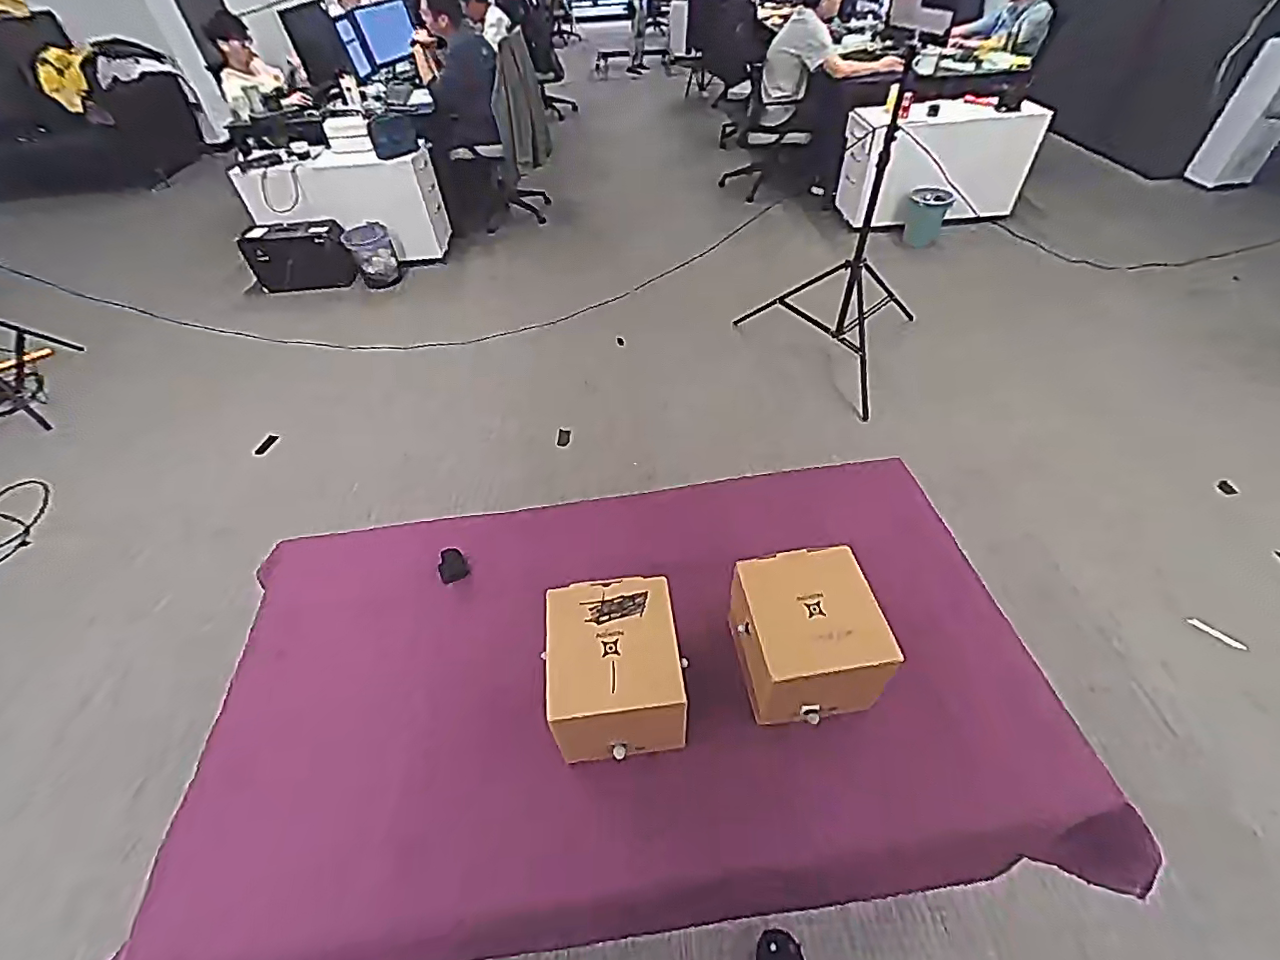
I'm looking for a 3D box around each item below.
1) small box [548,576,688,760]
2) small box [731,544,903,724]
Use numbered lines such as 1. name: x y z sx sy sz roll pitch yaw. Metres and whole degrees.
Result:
1. small box: -0.031 0.258 0.741 0.168 0.176 0.179 -7 47 -2
2. small box: 0.231 0.217 0.765 0.168 0.176 0.179 -9 47 -3
